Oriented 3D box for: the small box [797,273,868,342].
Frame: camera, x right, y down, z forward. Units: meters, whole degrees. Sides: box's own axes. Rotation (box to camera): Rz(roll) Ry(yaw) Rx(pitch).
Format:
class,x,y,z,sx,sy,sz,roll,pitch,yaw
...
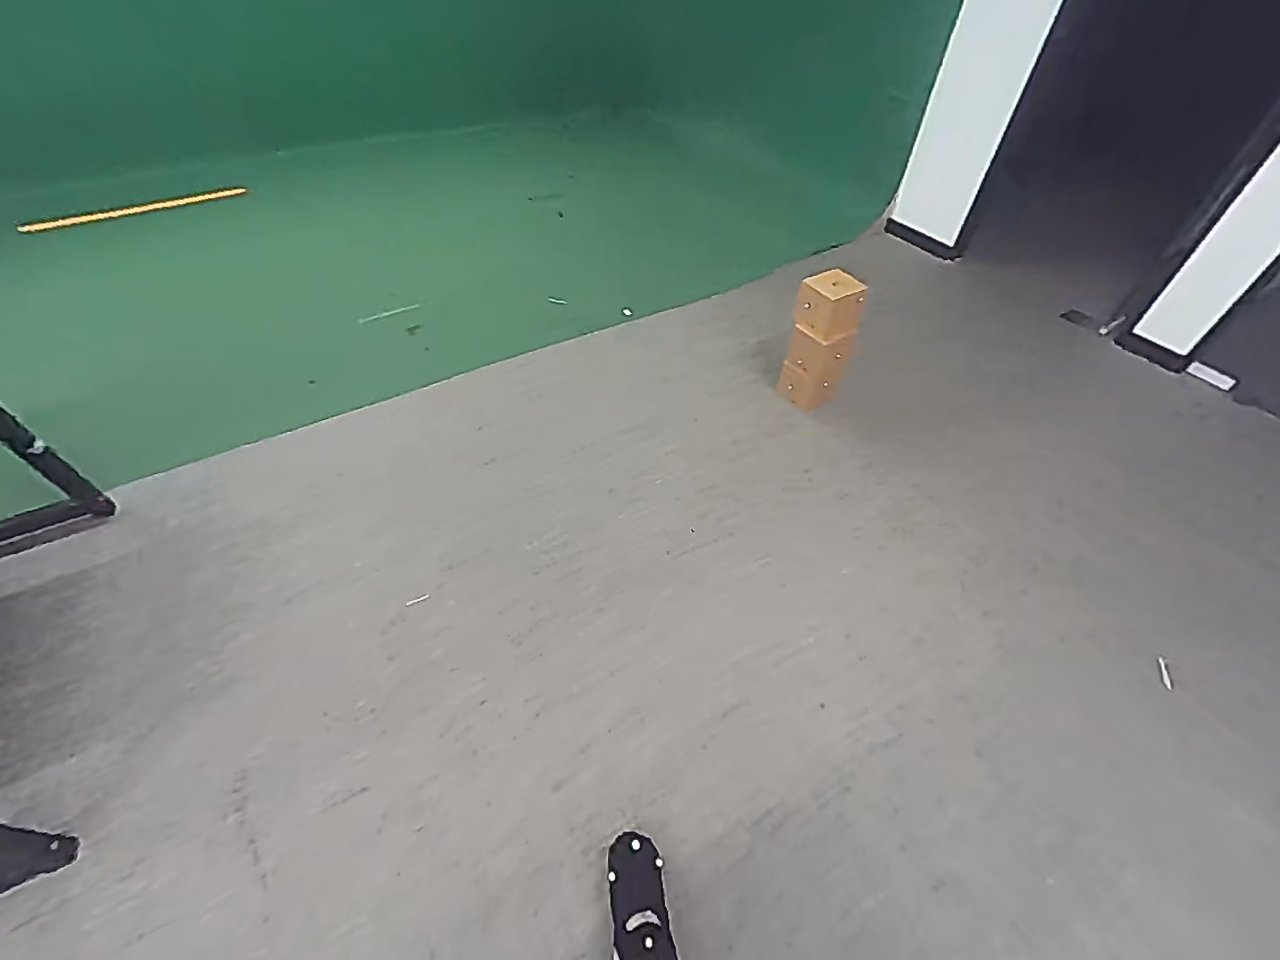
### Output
class,x,y,z,sx,sy,sz,roll,pitch,yaw
small box,0.704,-0.637,2.008,0.179,0.176,0.168,-23,52,-19
